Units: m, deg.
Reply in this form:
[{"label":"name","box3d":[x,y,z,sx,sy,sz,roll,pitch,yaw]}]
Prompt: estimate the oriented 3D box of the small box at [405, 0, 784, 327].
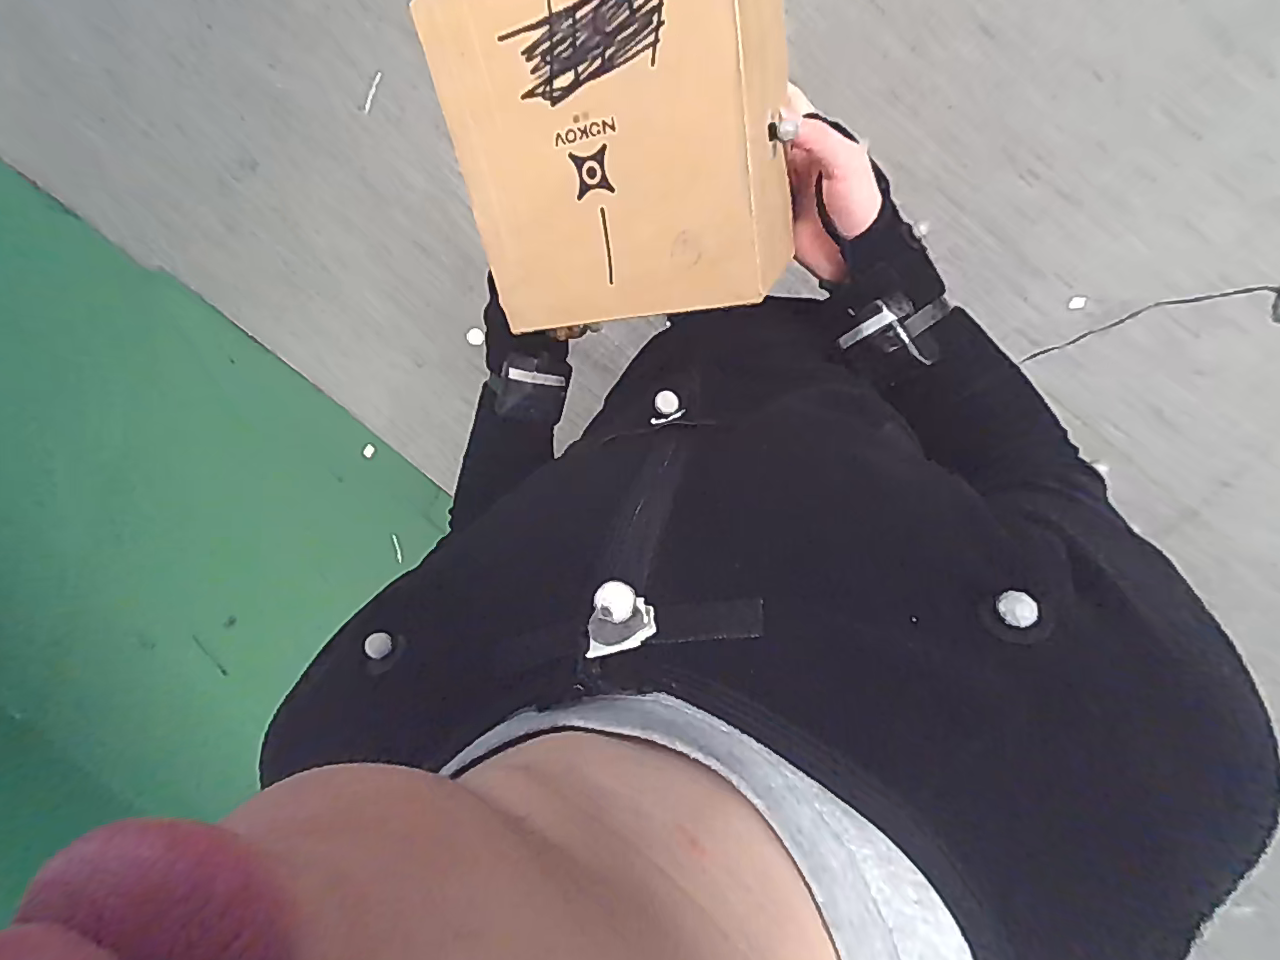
[{"label":"small box","box3d":[-0.004,-0.212,0.346,0.168,0.176,0.179,1,121,23]}]
